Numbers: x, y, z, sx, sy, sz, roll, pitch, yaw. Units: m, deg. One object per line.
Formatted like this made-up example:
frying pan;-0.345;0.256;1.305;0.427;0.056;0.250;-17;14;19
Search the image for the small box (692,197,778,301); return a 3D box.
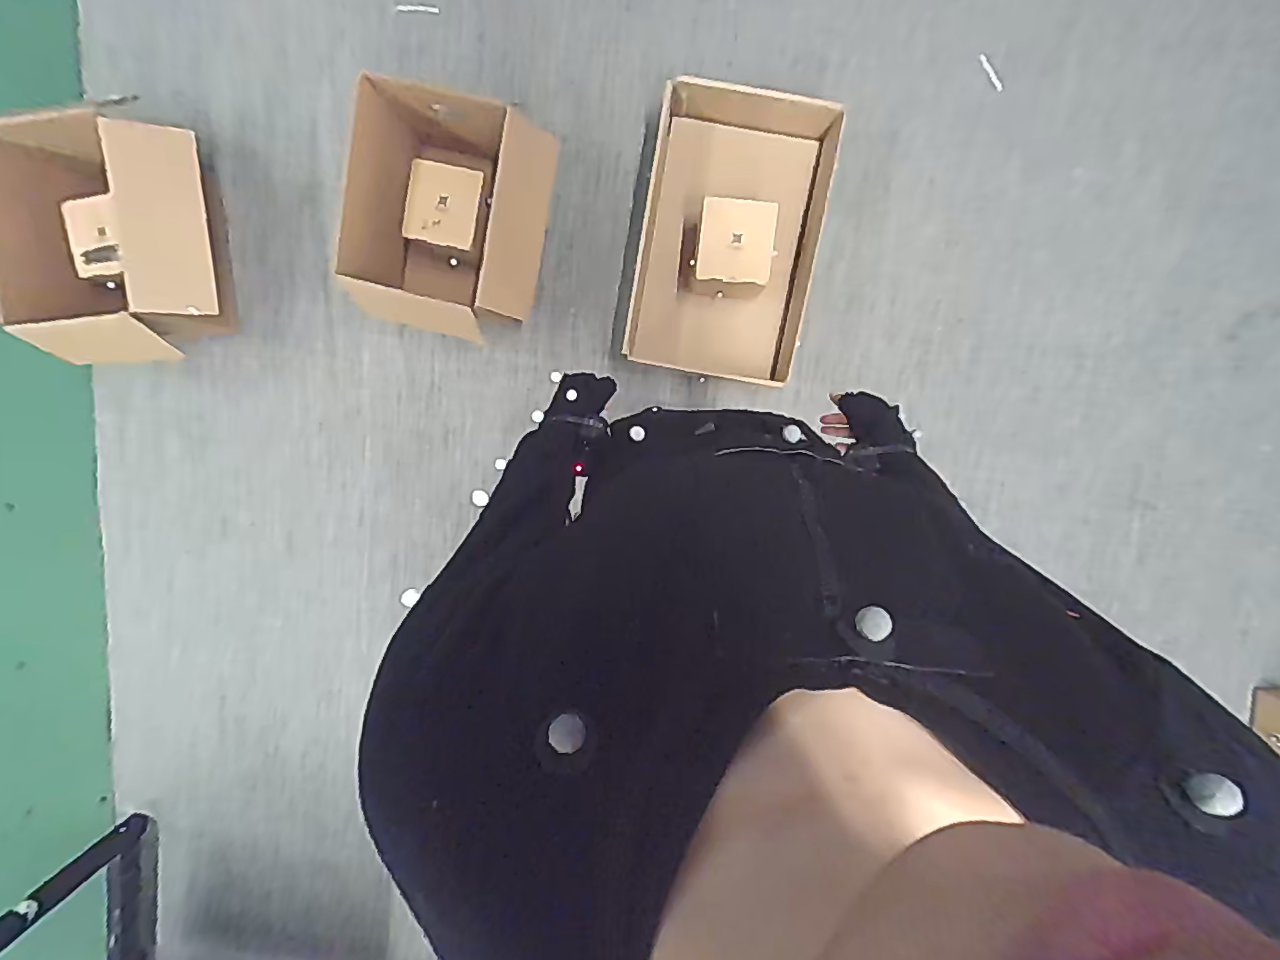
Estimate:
small box;0.214;-0.533;1.265;0.168;0.176;0.179;5;98;1
